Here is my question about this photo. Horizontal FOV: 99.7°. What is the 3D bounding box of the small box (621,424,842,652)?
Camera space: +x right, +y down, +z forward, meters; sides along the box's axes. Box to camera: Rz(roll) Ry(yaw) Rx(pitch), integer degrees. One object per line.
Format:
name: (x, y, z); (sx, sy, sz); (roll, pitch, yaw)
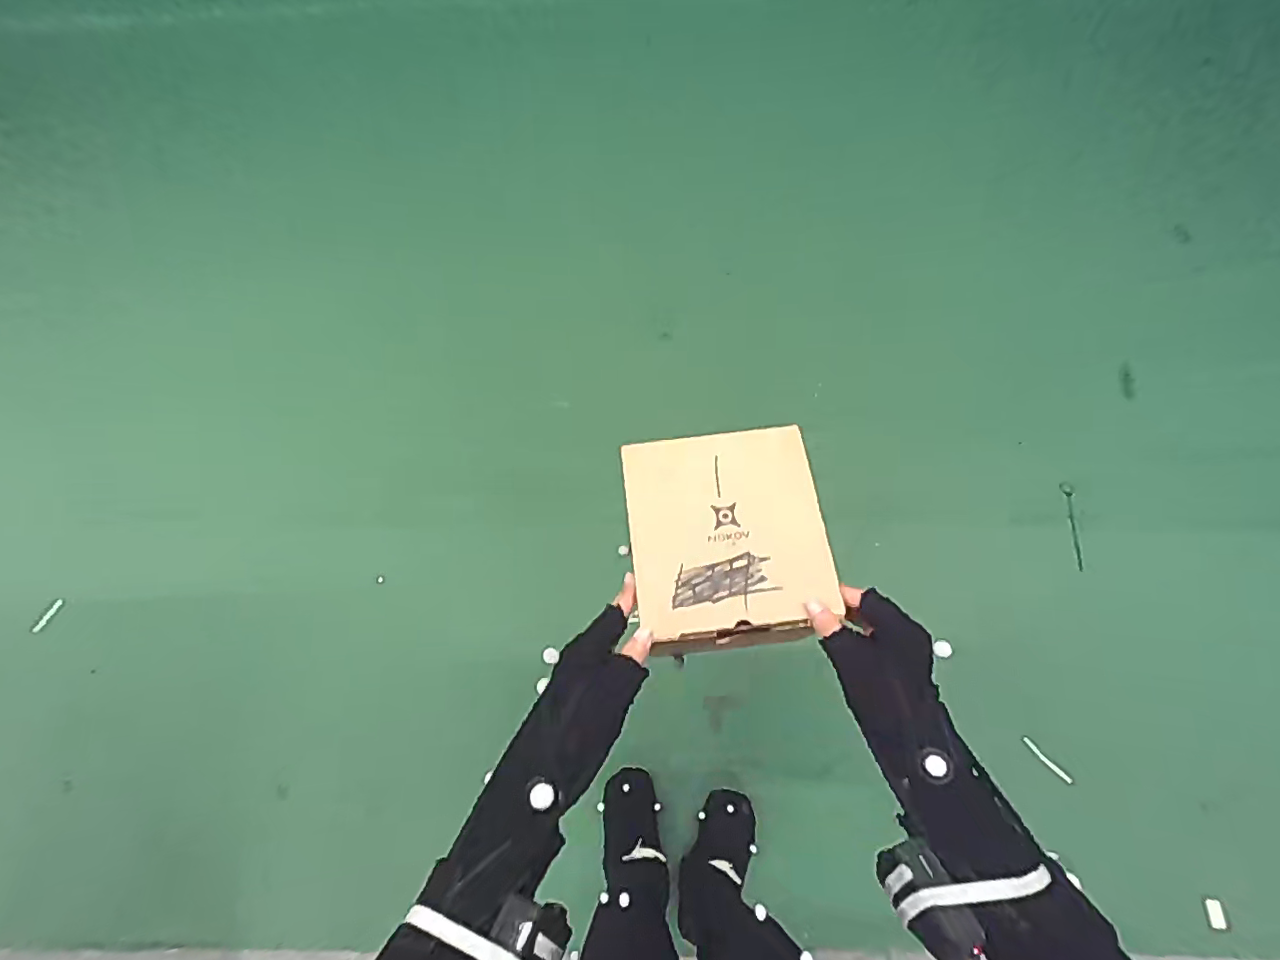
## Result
small box: (0.075, 0.068, 0.530); (0.168, 0.176, 0.179); (-7, 66, 0)
